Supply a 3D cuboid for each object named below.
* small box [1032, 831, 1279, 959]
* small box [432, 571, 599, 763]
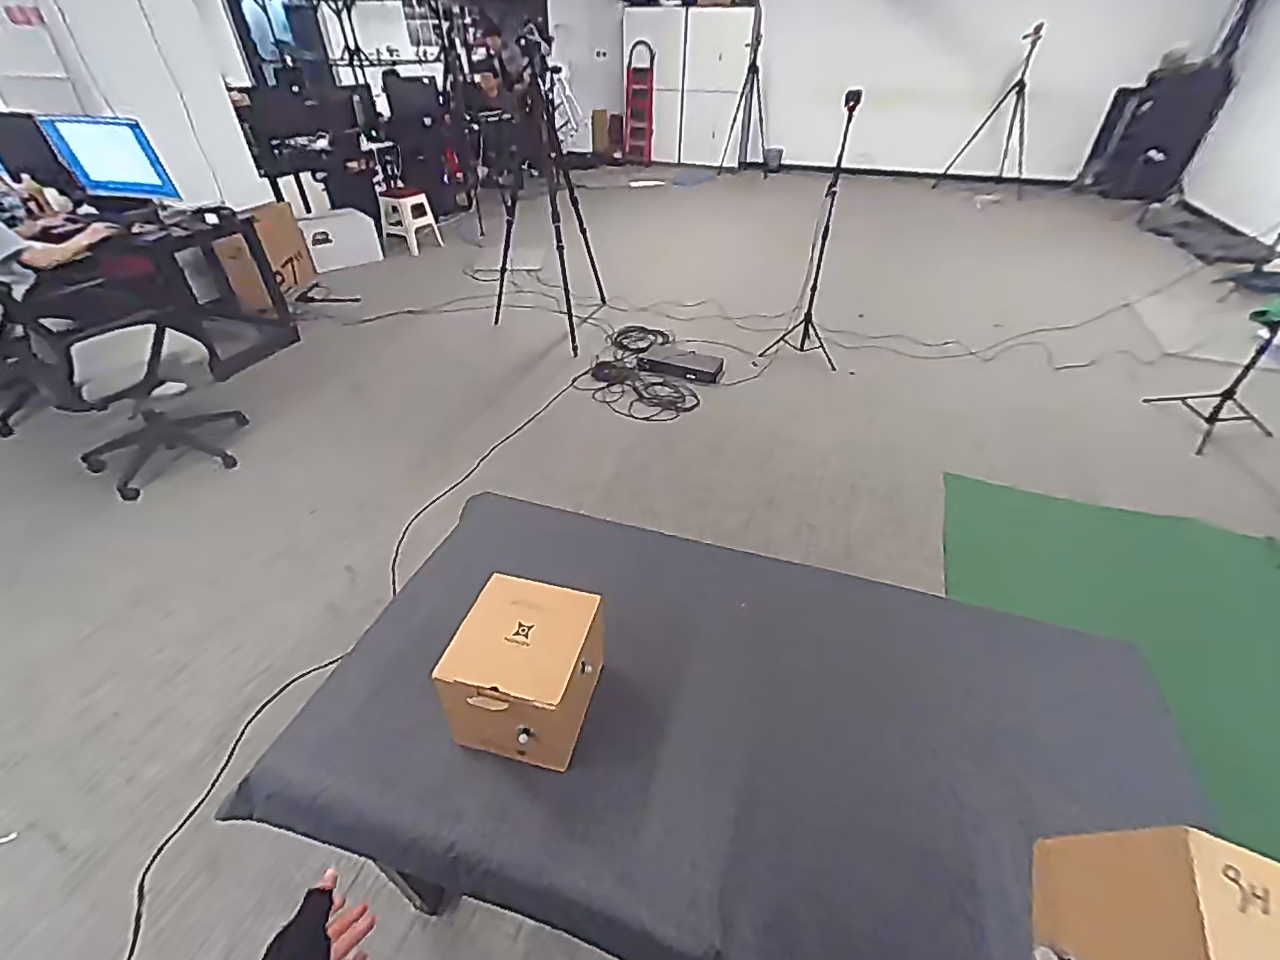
[{"bbox_3d":[0.386,0.360,0.348,0.168,0.176,0.179,20,57,12],"label":"small box"},{"bbox_3d":[-0.157,0.260,0.755,0.168,0.176,0.179,11,38,9],"label":"small box"}]
